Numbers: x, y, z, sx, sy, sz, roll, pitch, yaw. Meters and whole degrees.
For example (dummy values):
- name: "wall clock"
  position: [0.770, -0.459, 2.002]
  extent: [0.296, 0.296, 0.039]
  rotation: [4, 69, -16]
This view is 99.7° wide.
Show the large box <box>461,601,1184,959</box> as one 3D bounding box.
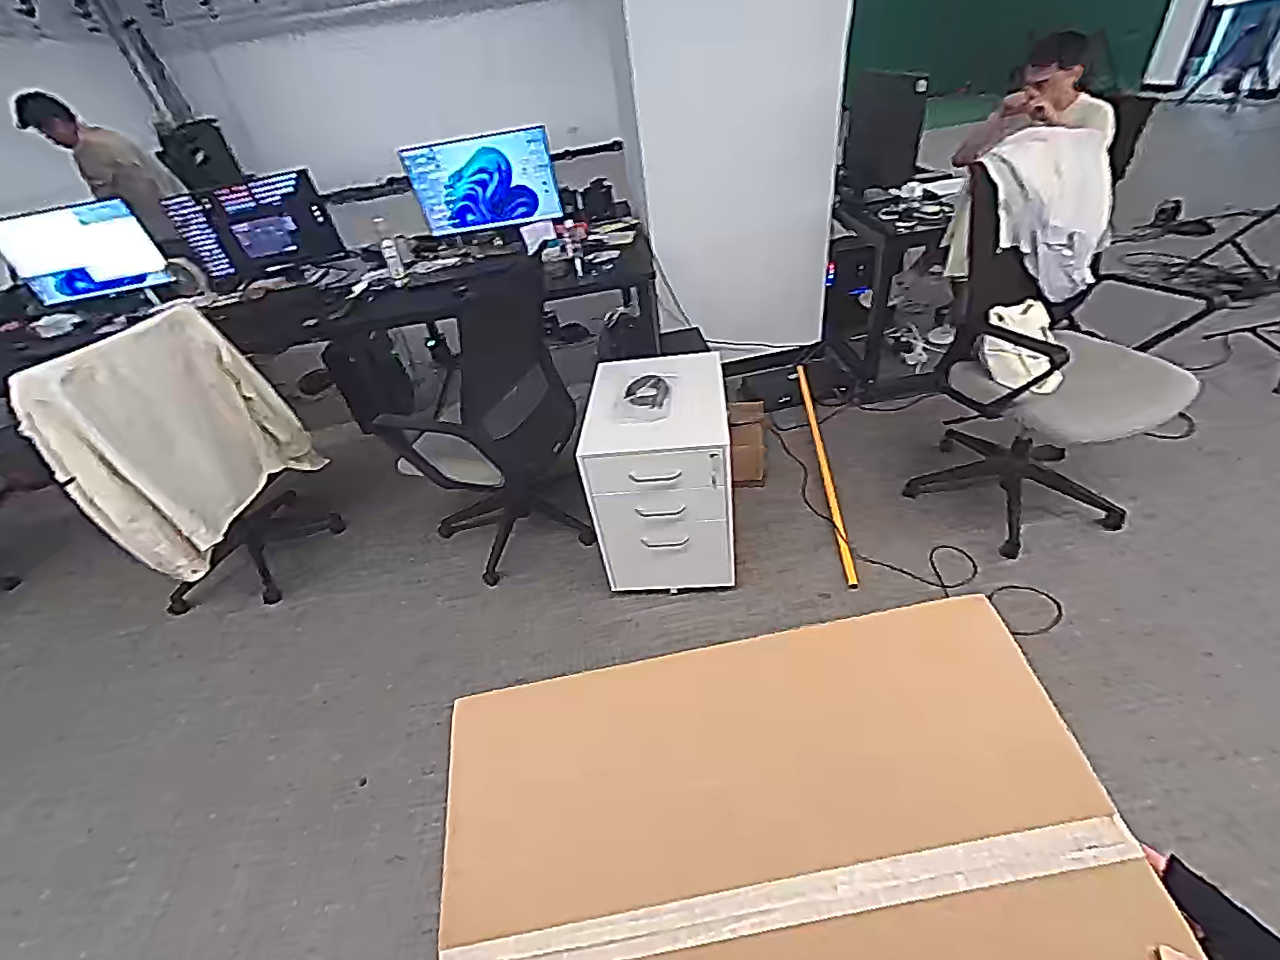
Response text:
- name: "large box"
  position: [0.105, 0.342, 0.438]
  extent: [0.408, 0.320, 0.320]
  rotation: [-12, 53, 1]
